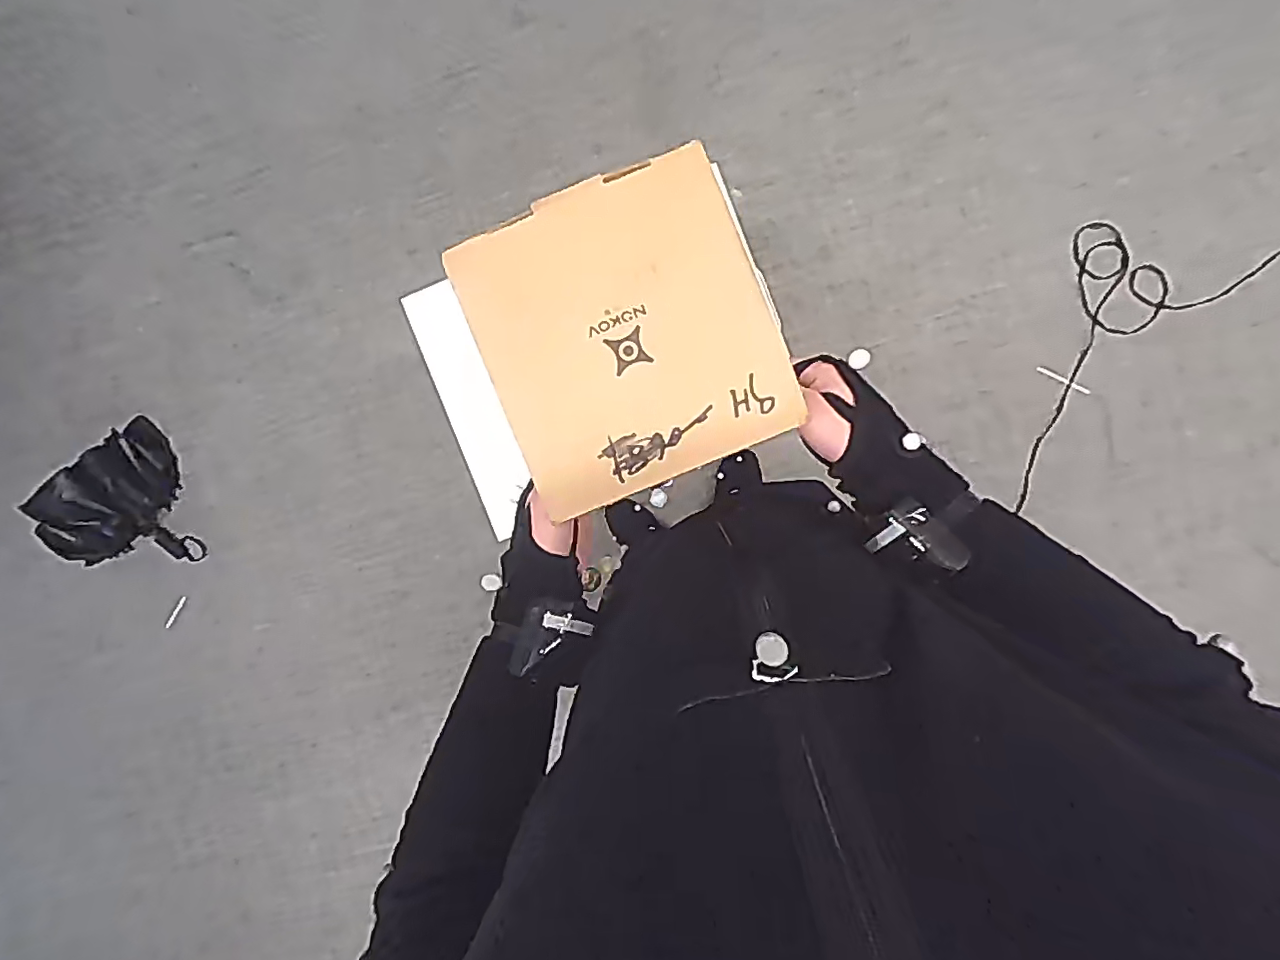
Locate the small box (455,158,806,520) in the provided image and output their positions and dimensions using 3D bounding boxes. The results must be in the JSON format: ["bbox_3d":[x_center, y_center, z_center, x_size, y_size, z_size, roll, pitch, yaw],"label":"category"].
[{"bbox_3d":[-0.004,-0.083,0.400,0.168,0.176,0.179,-21,90,3],"label":"small box"}]
